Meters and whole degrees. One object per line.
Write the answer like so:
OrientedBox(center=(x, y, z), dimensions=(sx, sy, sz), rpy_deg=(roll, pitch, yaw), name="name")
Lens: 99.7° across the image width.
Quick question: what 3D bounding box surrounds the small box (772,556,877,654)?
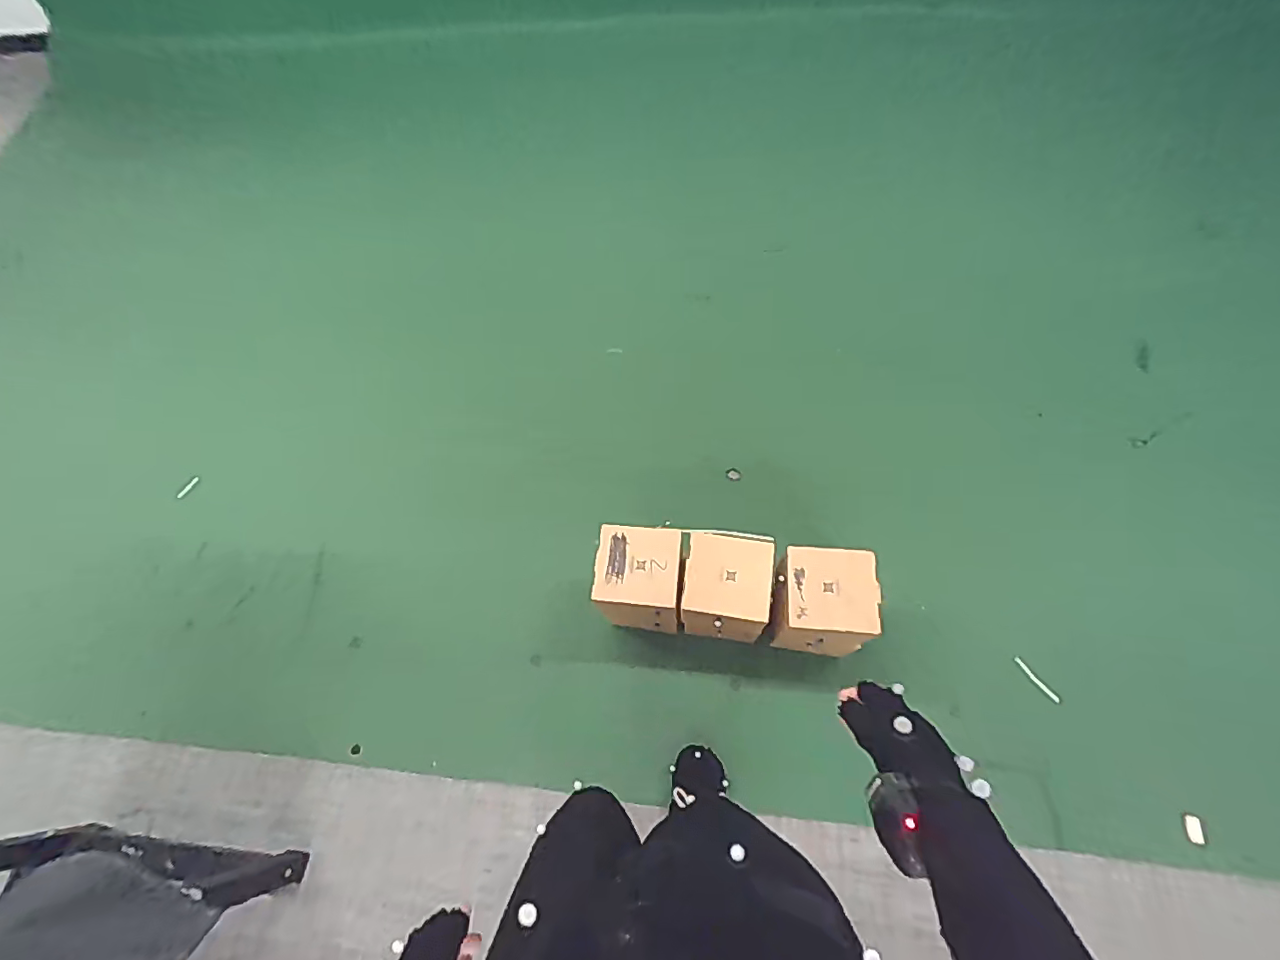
OrientedBox(center=(0.382, 0.269, 1.142), dimensions=(0.179, 0.176, 0.168), rpy_deg=(4, 65, 7), name="small box")
